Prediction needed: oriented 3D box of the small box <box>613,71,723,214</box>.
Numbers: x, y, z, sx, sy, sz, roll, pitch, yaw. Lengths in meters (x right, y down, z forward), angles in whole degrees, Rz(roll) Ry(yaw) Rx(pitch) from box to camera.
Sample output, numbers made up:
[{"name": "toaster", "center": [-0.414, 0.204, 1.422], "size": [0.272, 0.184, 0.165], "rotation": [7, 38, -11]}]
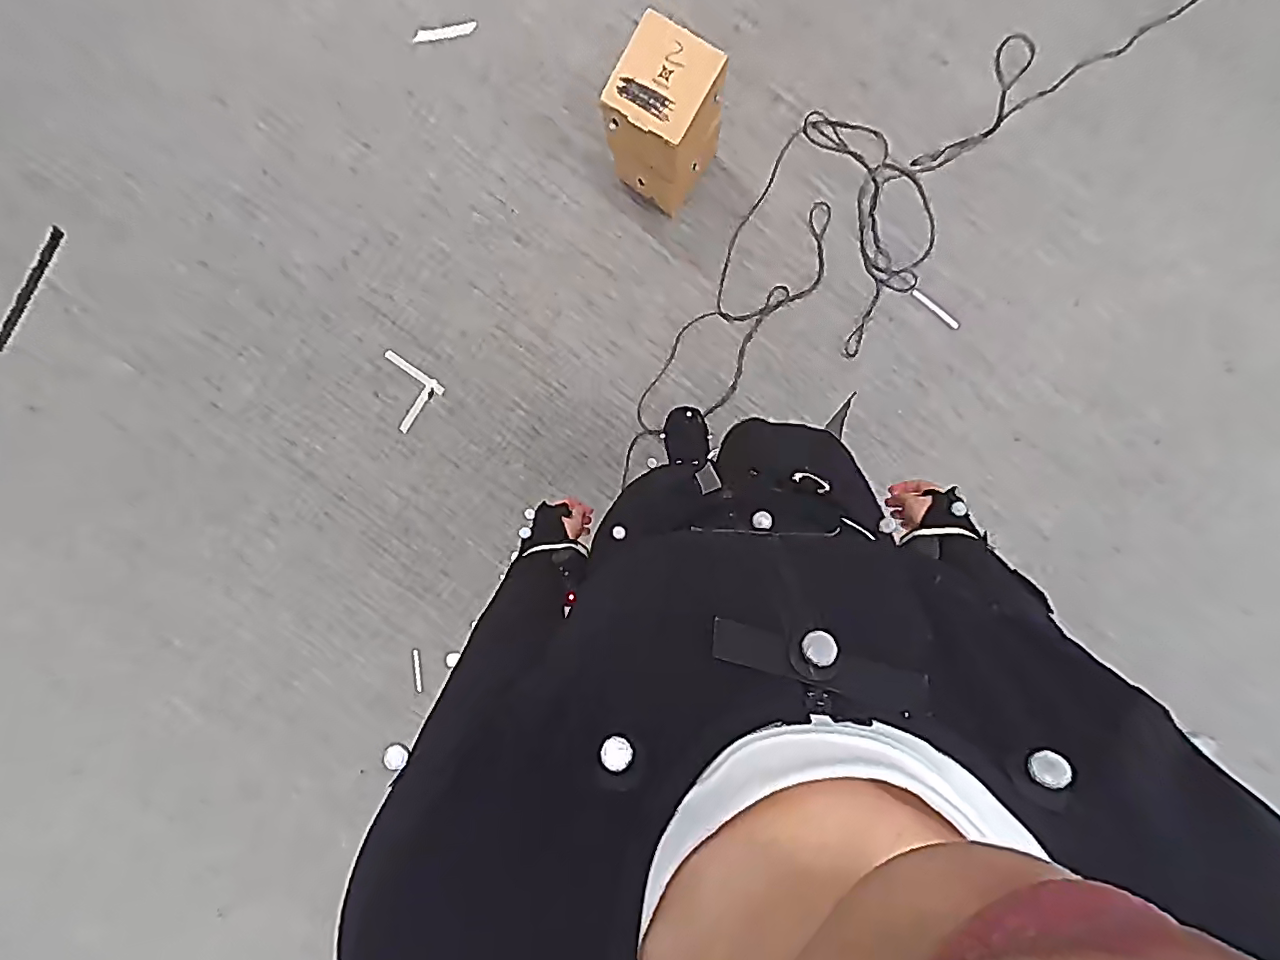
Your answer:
[{"name": "small box", "center": [0.064, -0.730, 1.195], "size": [0.168, 0.176, 0.179], "rotation": [36, 98, -1]}]
